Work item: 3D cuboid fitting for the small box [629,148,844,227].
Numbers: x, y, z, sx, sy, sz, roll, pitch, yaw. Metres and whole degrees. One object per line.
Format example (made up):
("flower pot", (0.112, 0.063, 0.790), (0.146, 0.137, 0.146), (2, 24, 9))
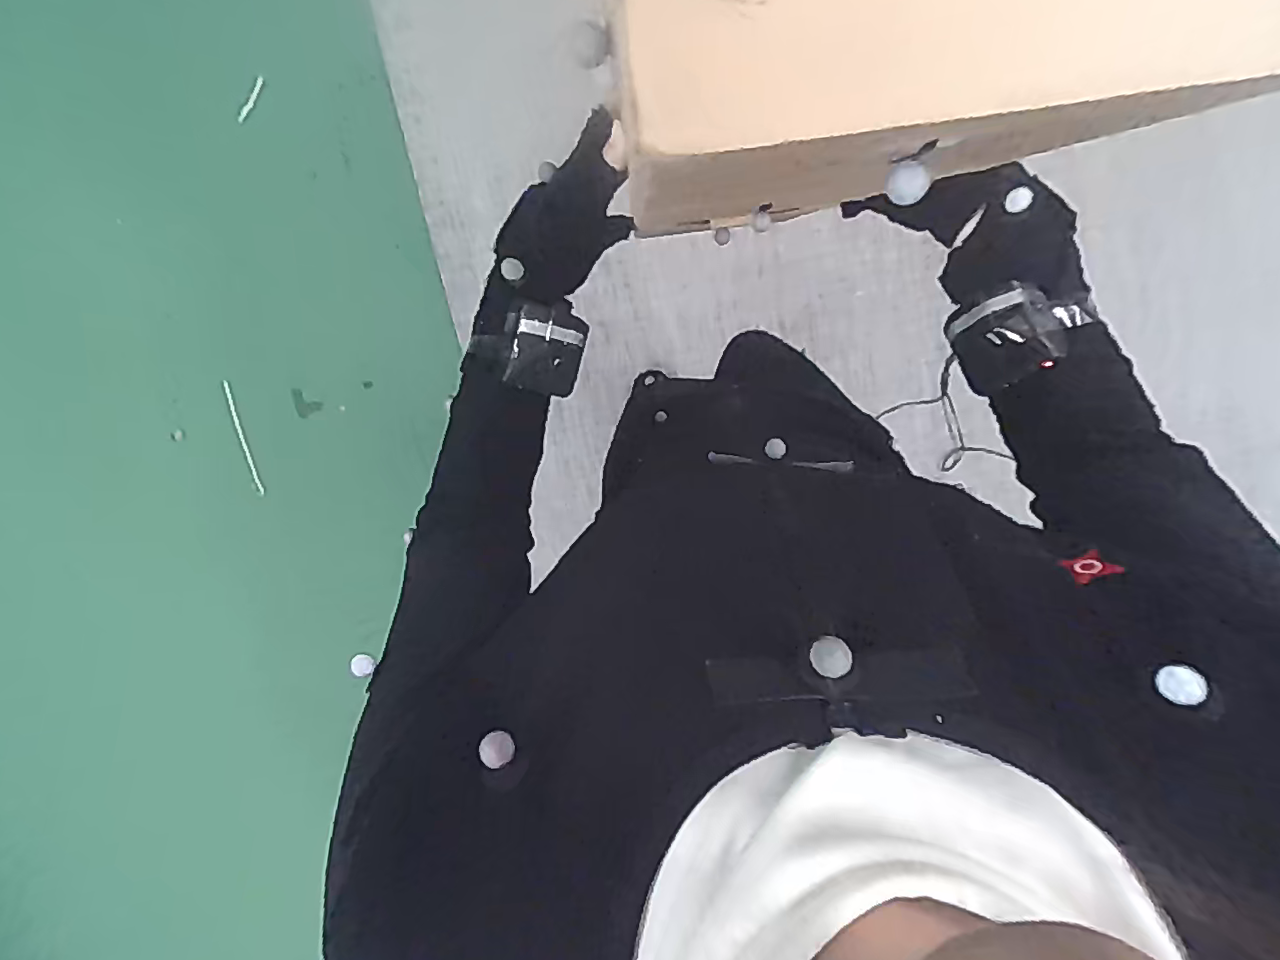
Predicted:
("small box", (0.072, -0.323, 0.468), (0.168, 0.176, 0.179), (-6, 113, 4))

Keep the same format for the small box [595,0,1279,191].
("small box", (0.072, -0.197, 0.166), (0.179, 0.176, 0.168), (-7, 113, 4))
